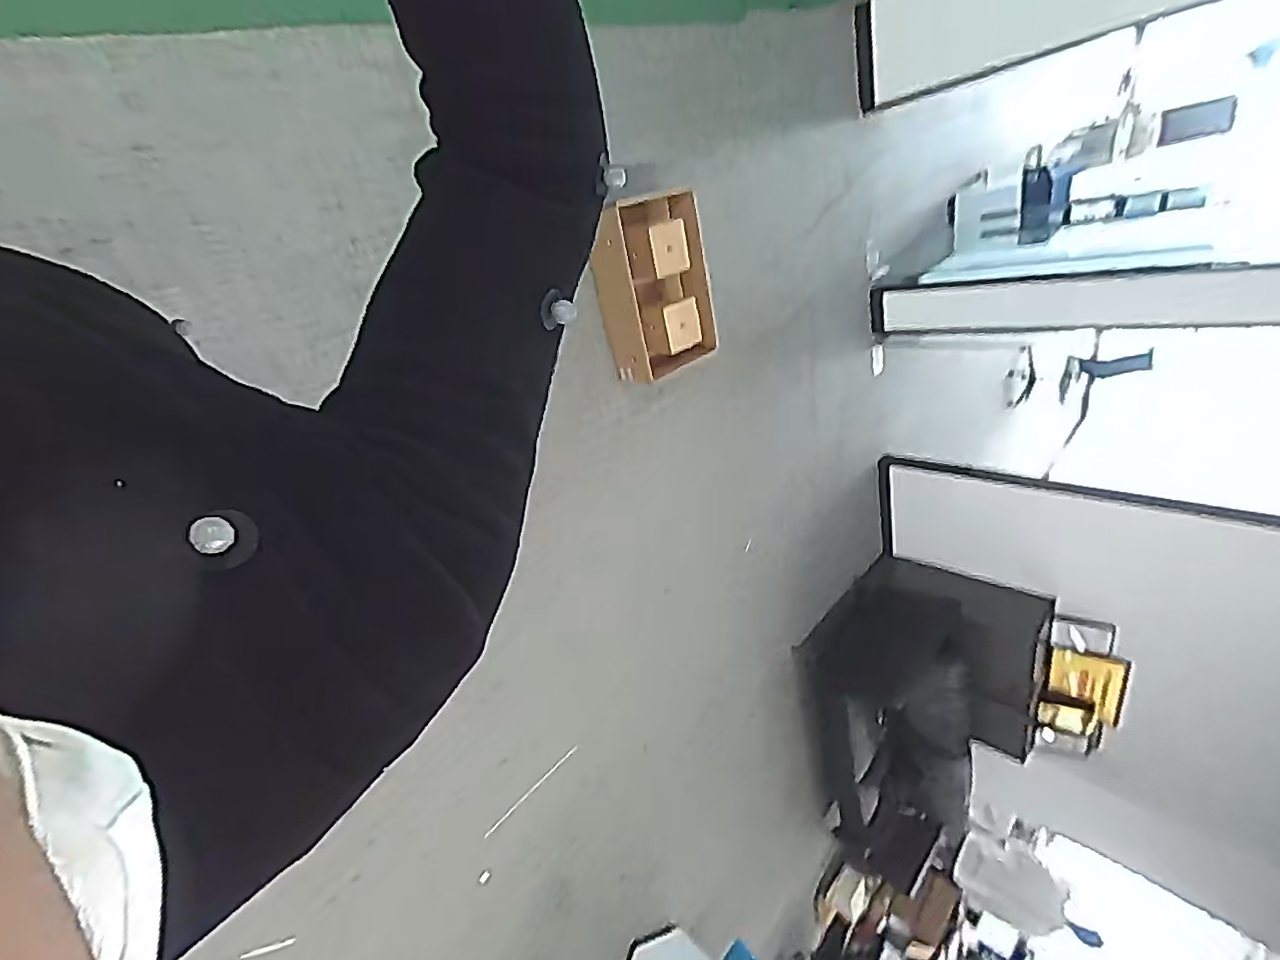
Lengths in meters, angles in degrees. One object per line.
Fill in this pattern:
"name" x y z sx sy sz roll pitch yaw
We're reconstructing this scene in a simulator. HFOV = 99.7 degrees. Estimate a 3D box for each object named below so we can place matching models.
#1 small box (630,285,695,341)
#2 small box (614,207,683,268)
"small box" 0.081 -0.636 2.064 0.179 0.176 0.168 -34 122 -33
"small box" 0.026 -0.868 1.942 0.179 0.176 0.168 -33 123 -33
